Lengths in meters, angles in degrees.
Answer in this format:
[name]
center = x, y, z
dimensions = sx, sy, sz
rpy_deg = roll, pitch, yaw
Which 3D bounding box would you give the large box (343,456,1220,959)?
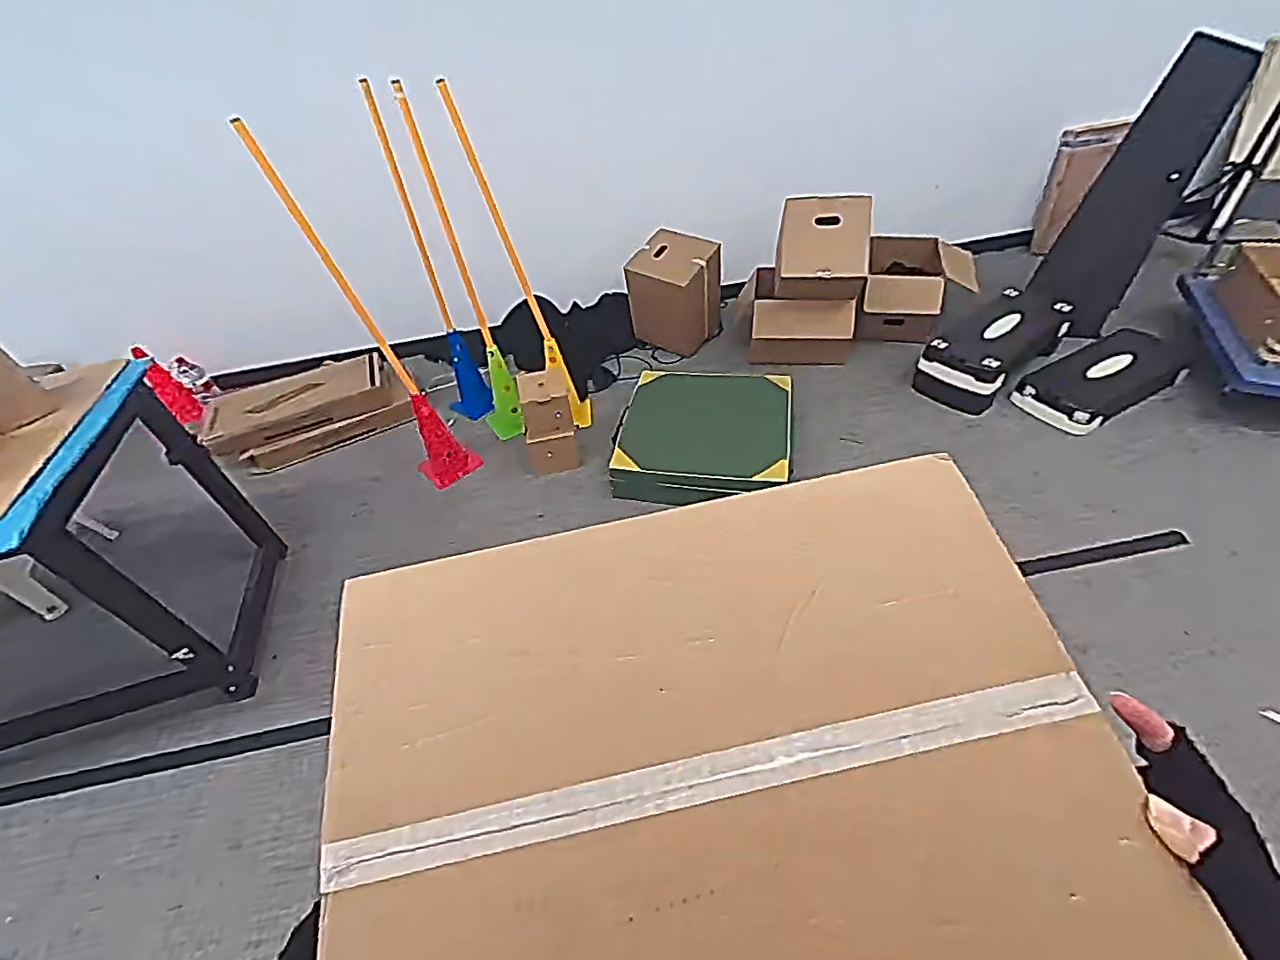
[large box]
center = 0.050, 0.228, 0.423
dimensions = 0.408, 0.320, 0.320
rpy_deg = -12, 61, -1
